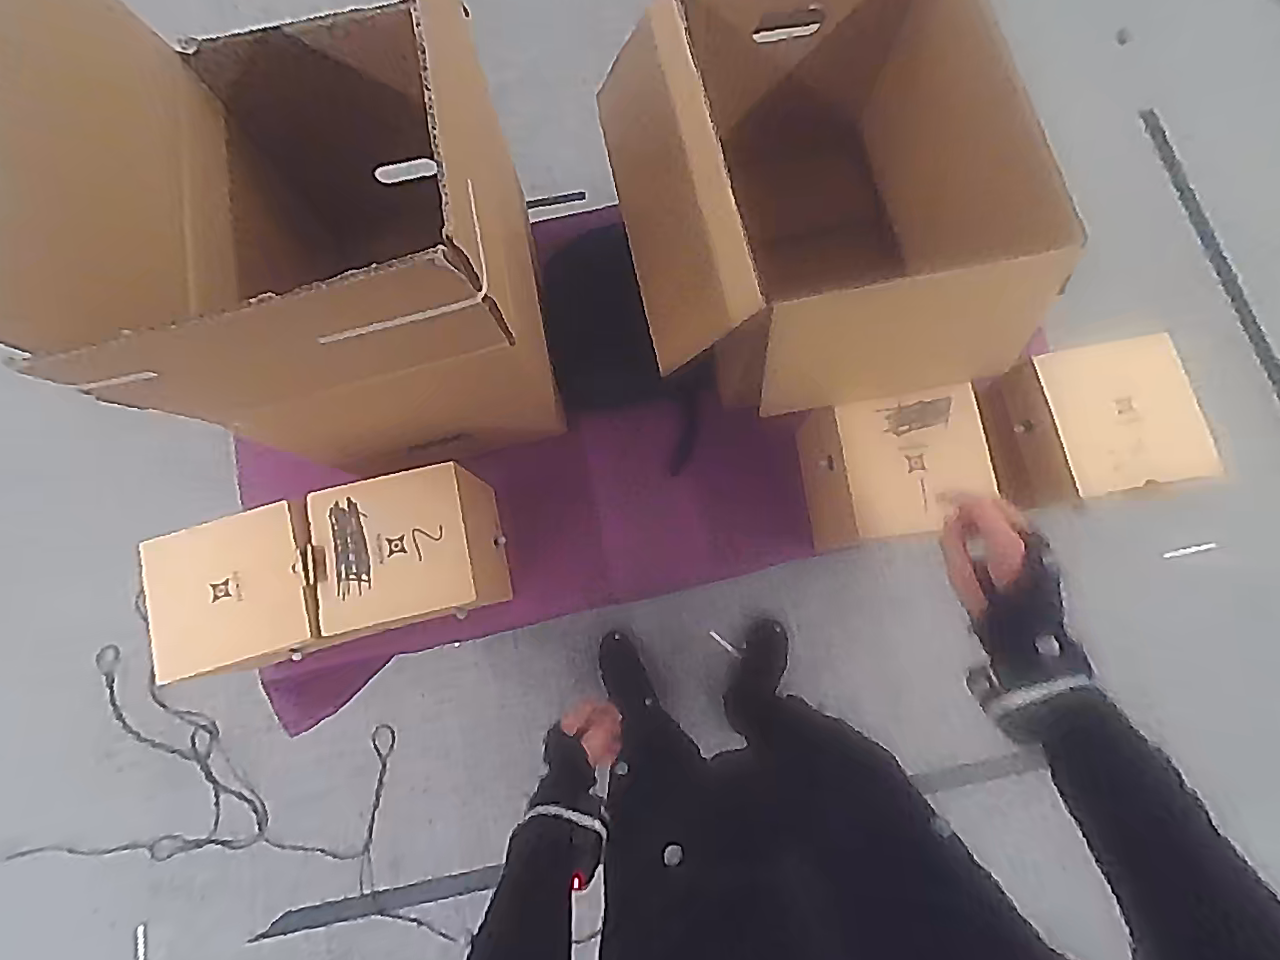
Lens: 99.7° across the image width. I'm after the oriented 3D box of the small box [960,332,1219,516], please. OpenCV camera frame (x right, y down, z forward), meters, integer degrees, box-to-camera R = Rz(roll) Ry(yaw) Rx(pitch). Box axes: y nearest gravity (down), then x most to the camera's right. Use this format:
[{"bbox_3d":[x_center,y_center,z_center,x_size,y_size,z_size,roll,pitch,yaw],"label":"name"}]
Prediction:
[{"bbox_3d":[0.551,-0.061,0.695,0.168,0.176,0.179,-11,78,1],"label":"small box"}]
